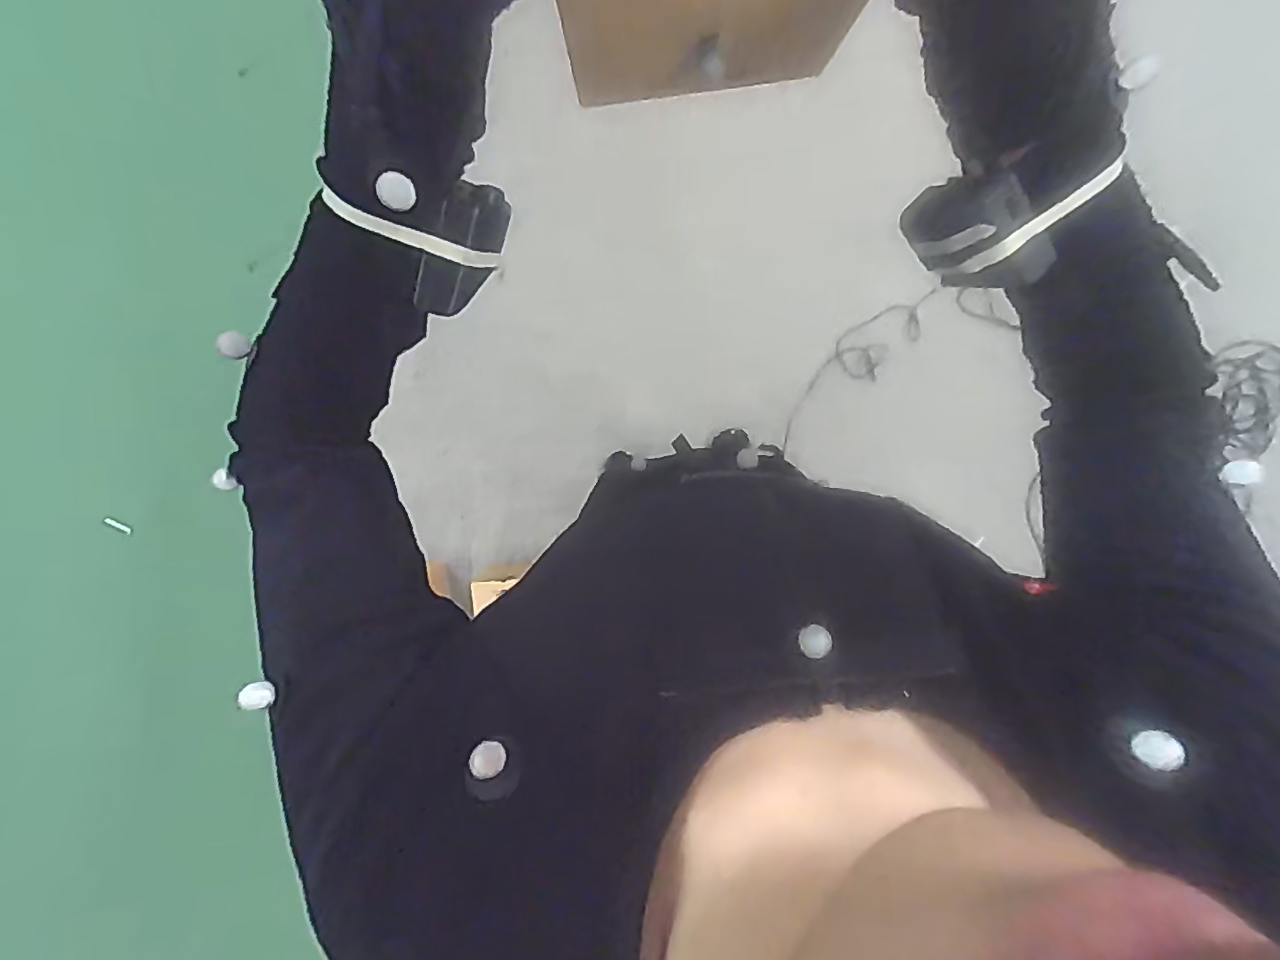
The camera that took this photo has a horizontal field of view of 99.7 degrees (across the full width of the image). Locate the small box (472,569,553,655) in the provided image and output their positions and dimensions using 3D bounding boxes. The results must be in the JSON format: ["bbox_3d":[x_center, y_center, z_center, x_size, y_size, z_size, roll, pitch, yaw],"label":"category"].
[{"bbox_3d":[-0.324,0.334,1.402,0.168,0.176,0.179,-5,93,0],"label":"small box"}]

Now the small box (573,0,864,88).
[{"bbox_3d":[0.038,-0.337,0.263,0.168,0.176,0.179,-6,101,1],"label":"small box"}]
